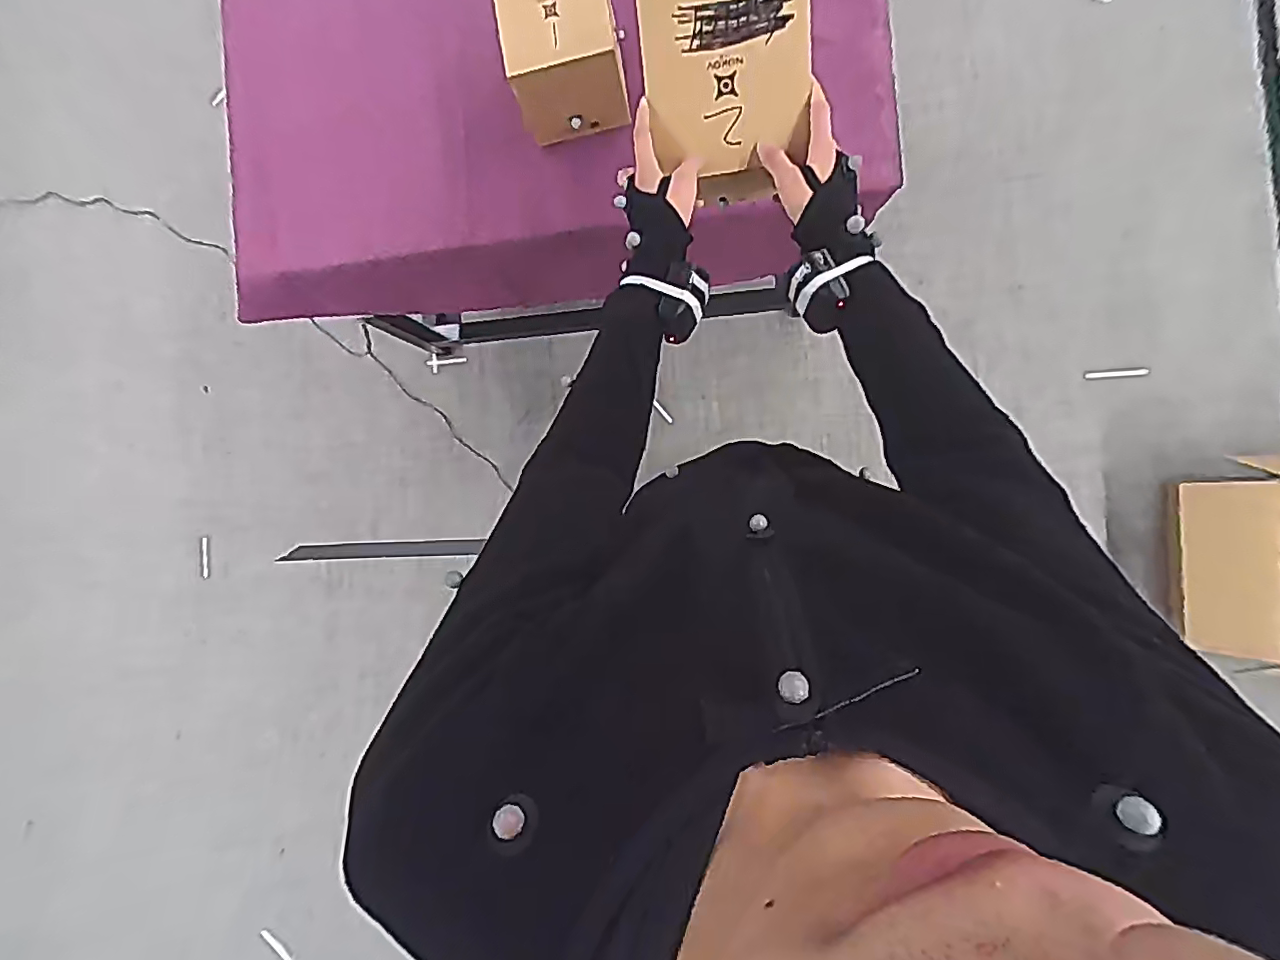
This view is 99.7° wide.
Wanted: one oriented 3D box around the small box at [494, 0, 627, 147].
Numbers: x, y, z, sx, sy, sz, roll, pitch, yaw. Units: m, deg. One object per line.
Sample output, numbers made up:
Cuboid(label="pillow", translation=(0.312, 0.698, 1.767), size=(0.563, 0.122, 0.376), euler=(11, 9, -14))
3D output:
Cuboid(label="small box", translation=(-0.123, -0.685, 0.871), size=(0.168, 0.176, 0.179), euler=(-9, 89, 7))
